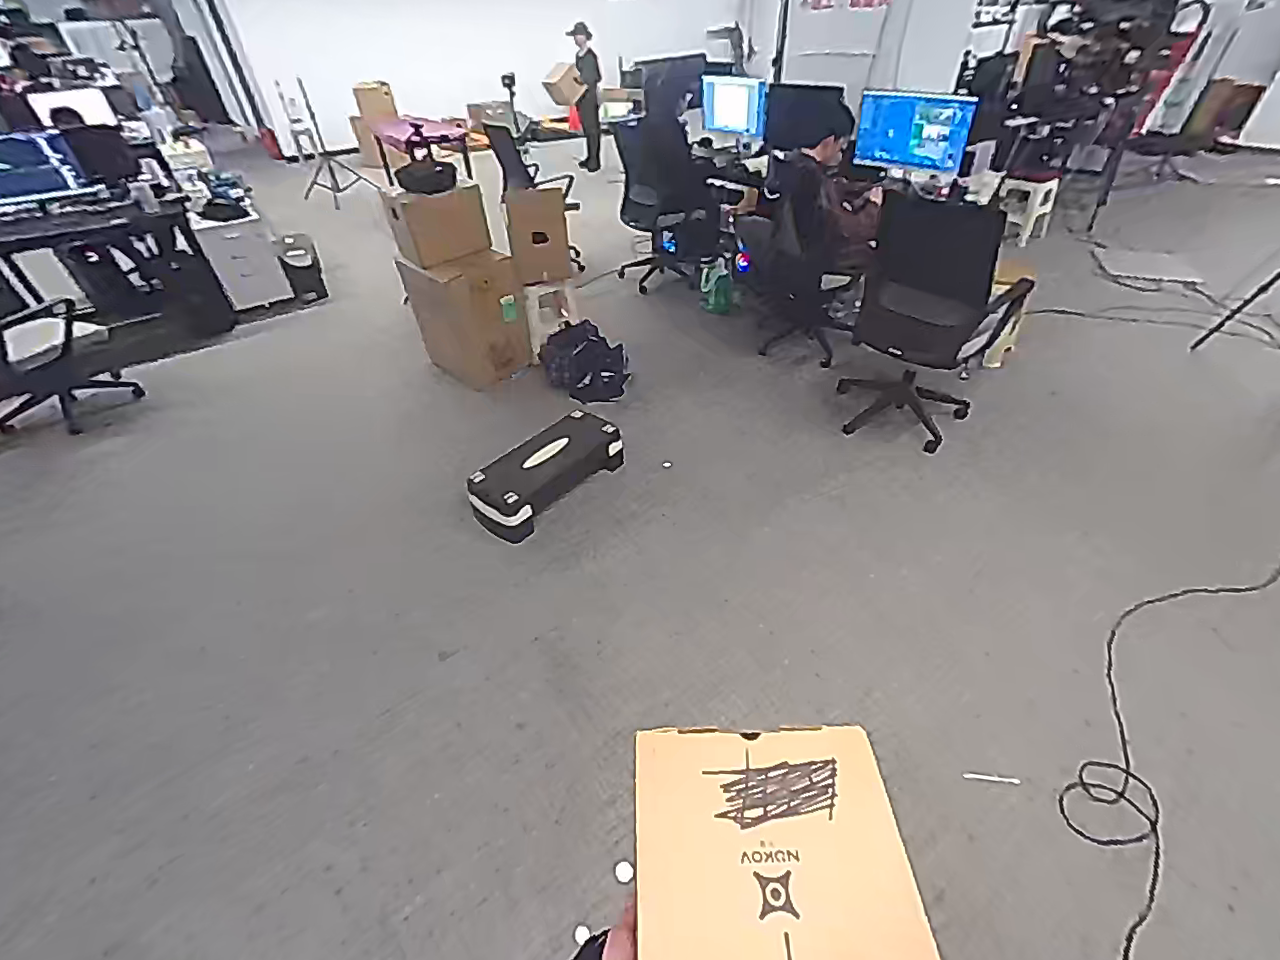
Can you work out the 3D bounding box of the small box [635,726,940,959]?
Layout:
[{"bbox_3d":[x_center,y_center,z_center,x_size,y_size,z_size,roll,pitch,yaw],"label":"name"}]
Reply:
[{"bbox_3d":[0.080,0.292,0.373,0.168,0.176,0.179,-1,44,0],"label":"small box"}]
